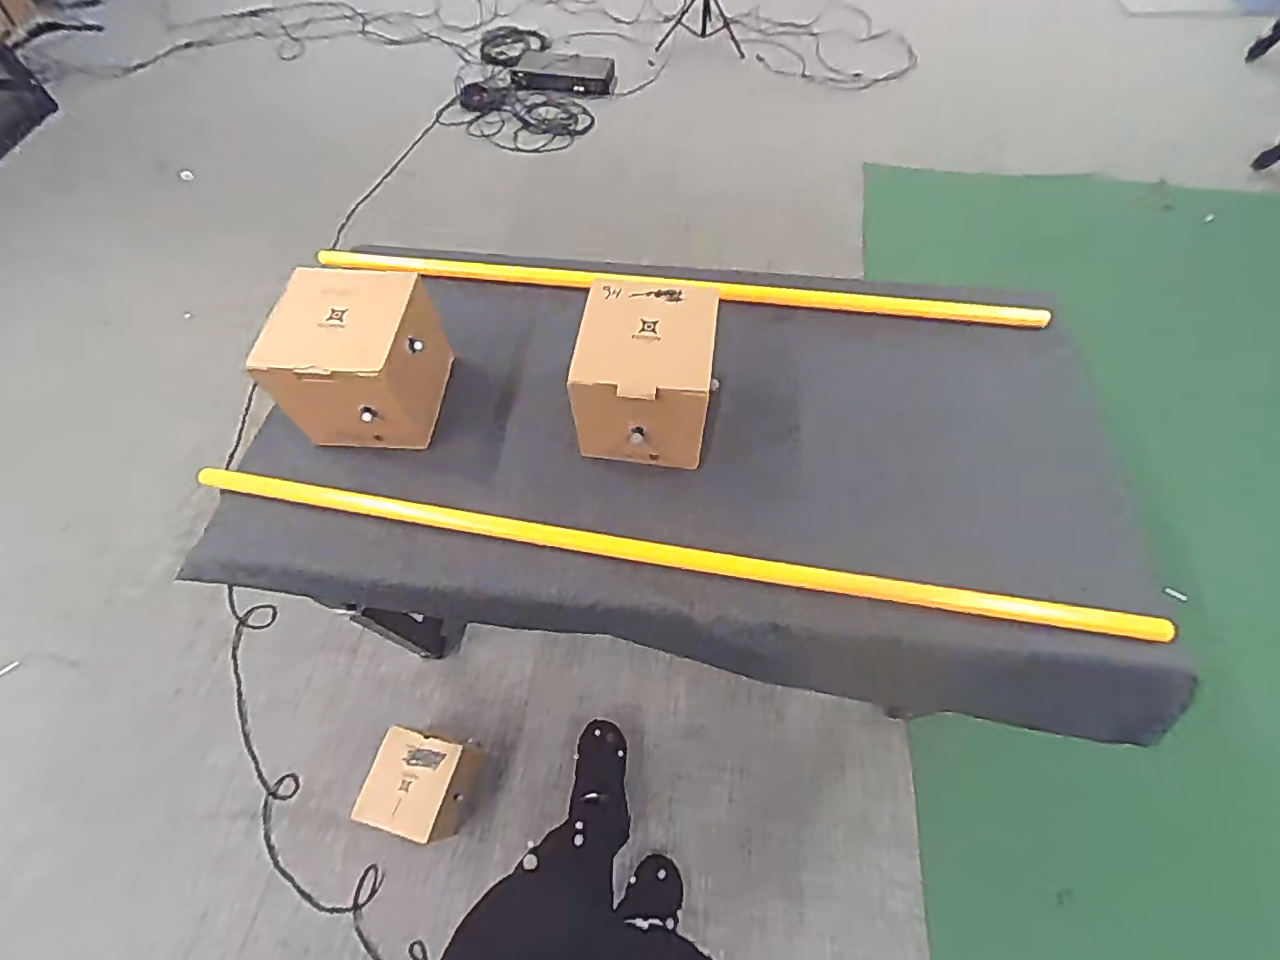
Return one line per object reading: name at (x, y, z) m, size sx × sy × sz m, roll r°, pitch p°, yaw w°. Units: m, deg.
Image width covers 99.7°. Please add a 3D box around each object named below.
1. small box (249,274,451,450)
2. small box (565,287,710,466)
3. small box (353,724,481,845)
small box at (-0.379, -0.157, 0.748) m, size 0.168 × 0.176 × 0.179 m, roll 3°, pitch 59°, yaw 1°
small box at (0.005, -0.134, 0.729) m, size 0.168 × 0.176 × 0.179 m, roll 3°, pitch 60°, yaw 5°
small box at (-0.454, 0.636, 1.140) m, size 0.168 × 0.176 × 0.179 m, roll 13°, pitch 63°, yaw 9°
